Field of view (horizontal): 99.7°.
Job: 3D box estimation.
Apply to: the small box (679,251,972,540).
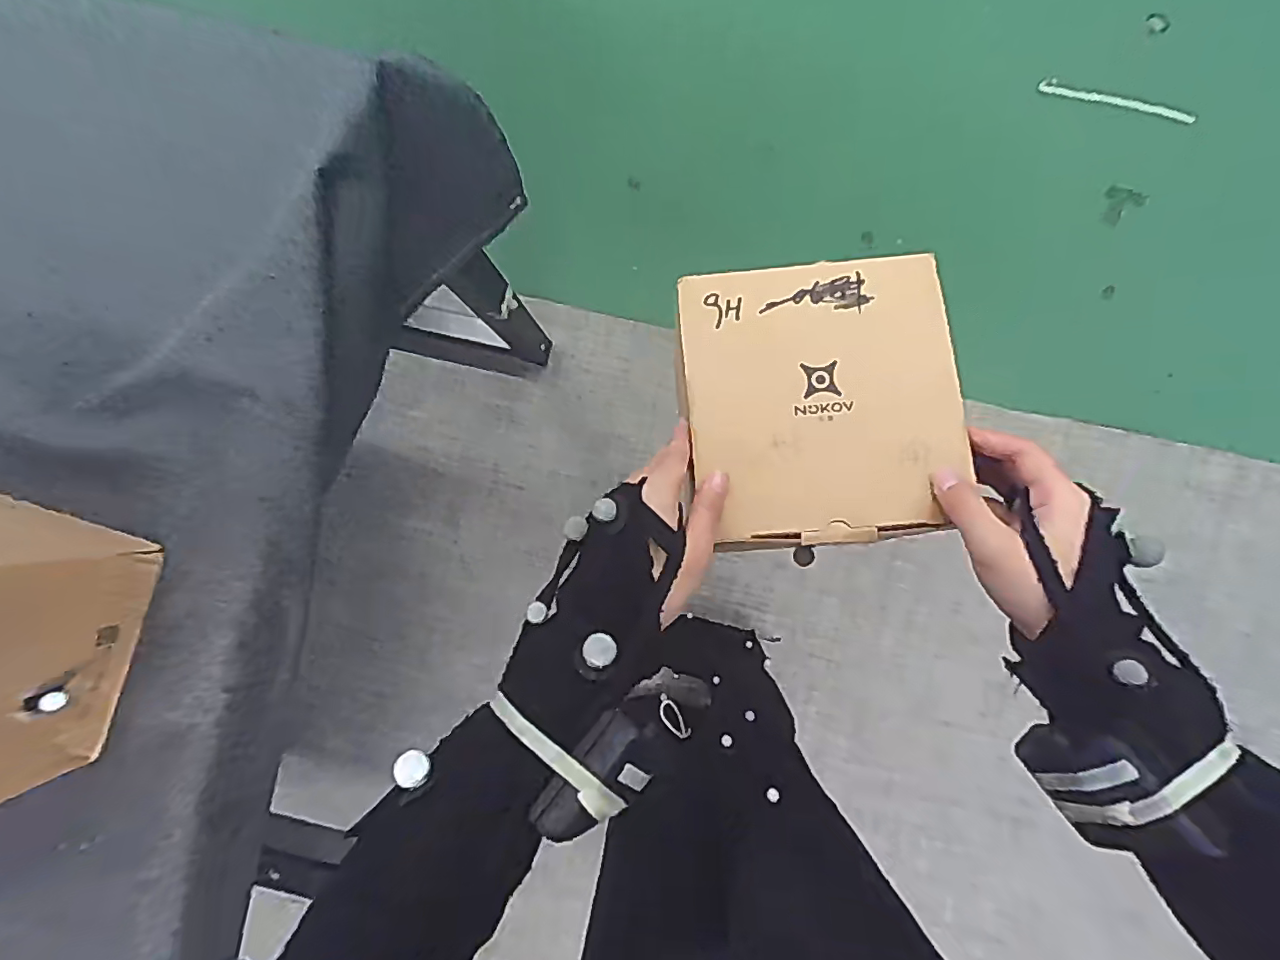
[{"bbox_3d":[0.118,-0.045,0.418,0.168,0.176,0.179,-5,81,3],"label":"small box"}]
